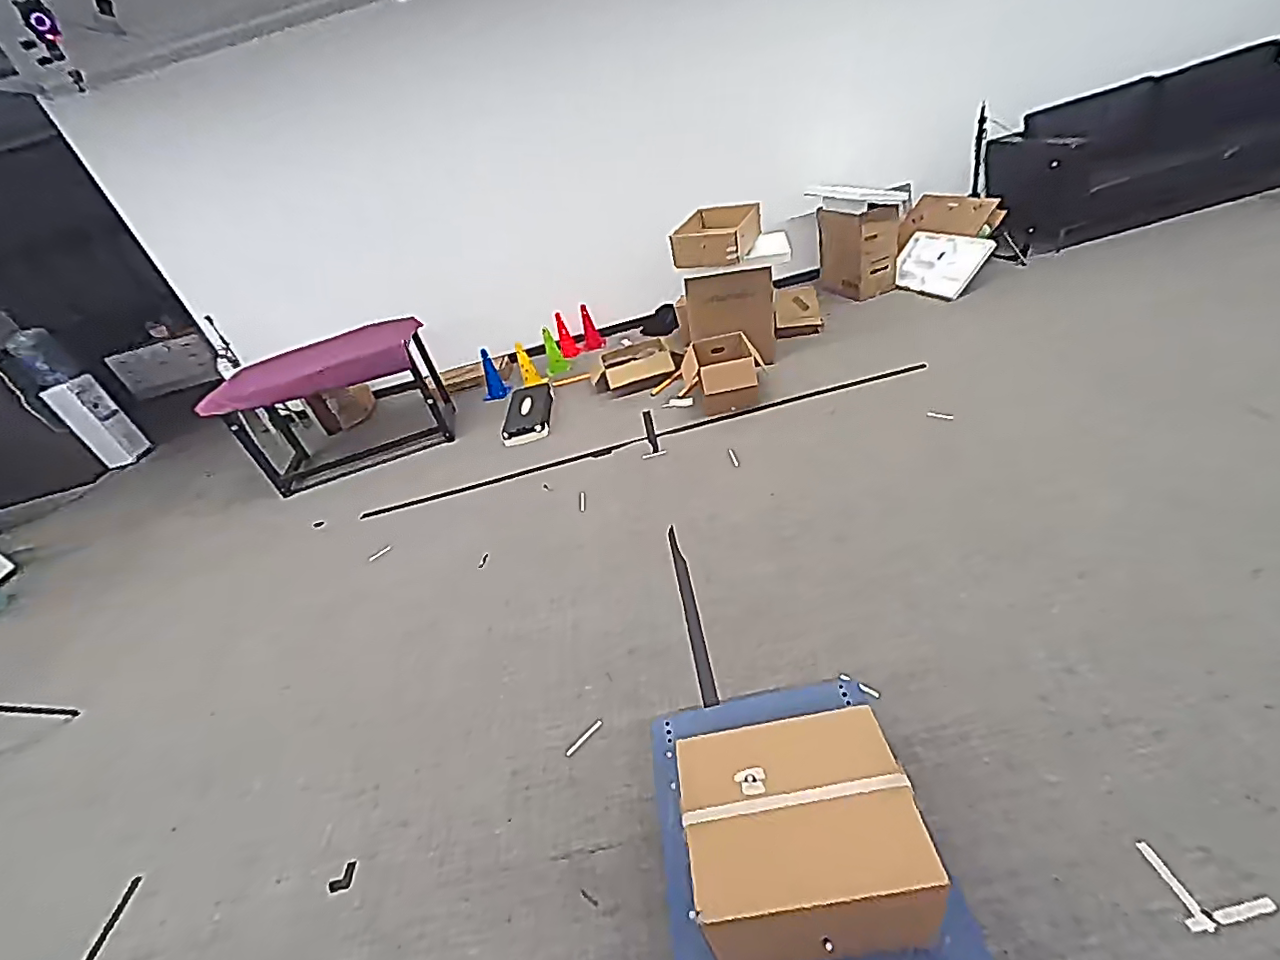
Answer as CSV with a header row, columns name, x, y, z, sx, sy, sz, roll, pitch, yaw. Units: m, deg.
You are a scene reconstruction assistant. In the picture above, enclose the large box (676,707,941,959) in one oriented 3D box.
name,x,y,z,sx,sy,sz,roll,pitch,yaw
large box,0.314,0.712,1.073,0.408,0.320,0.320,-14,33,5
